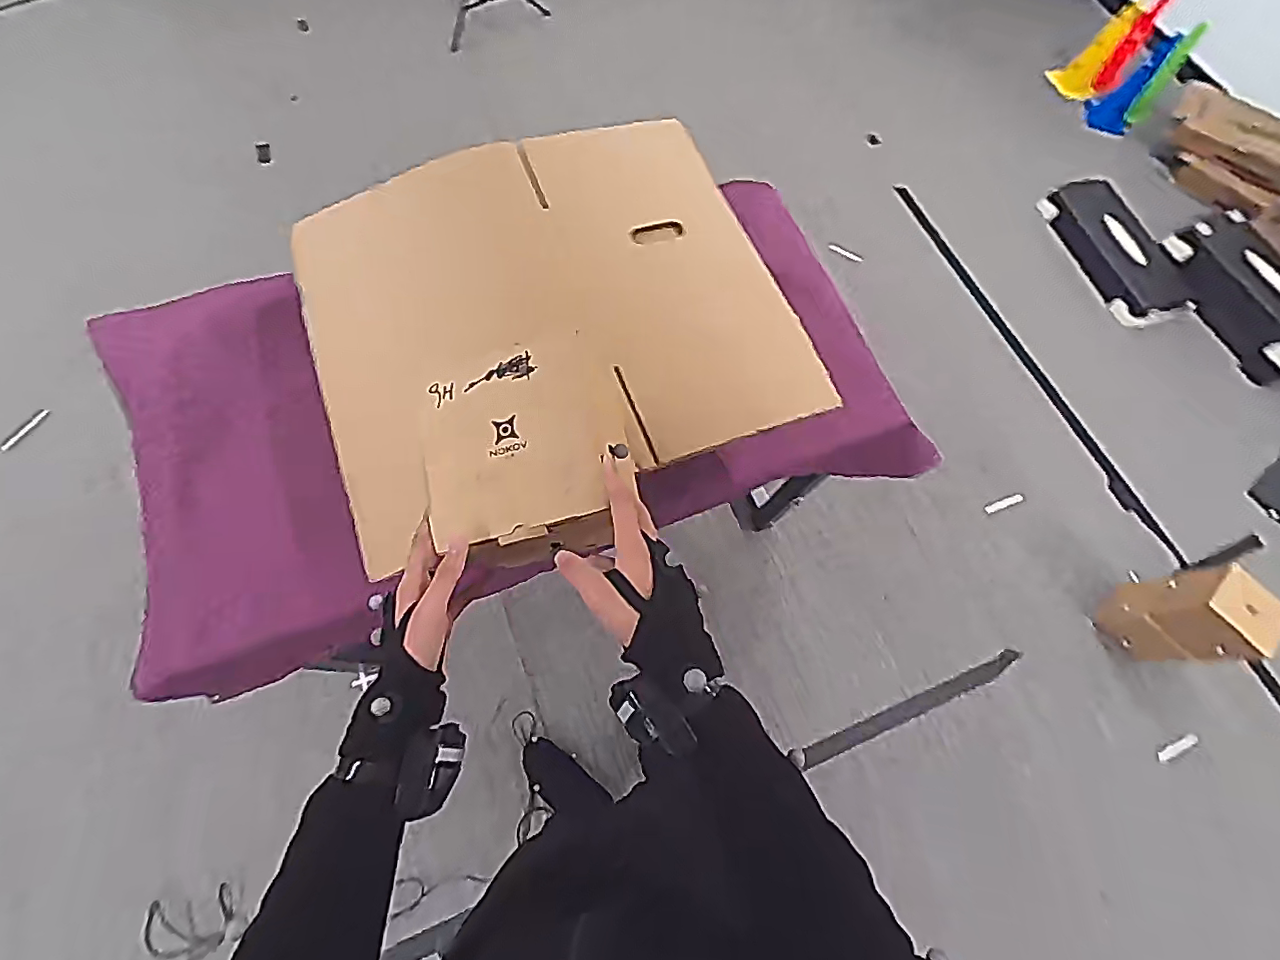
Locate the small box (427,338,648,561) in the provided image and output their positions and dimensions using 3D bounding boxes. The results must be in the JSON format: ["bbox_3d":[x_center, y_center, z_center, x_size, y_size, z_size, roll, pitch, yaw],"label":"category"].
[{"bbox_3d":[-0.095,-0.015,0.564,0.168,0.176,0.179,-14,76,7],"label":"small box"}]
